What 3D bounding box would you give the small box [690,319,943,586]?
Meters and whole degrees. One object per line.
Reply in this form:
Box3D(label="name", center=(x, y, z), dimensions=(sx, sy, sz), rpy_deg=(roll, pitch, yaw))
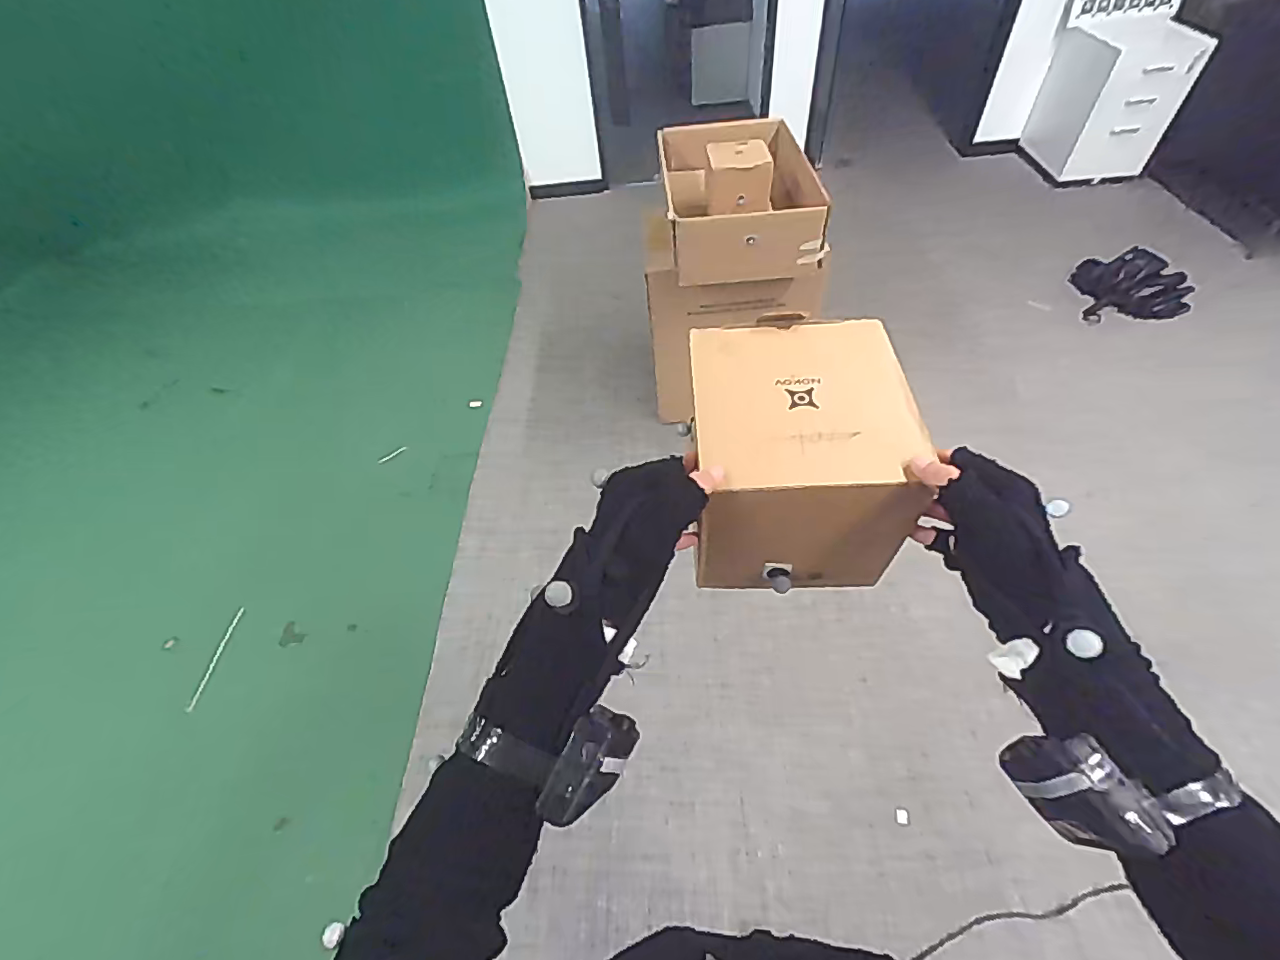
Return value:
Box3D(label="small box", center=(0.131, -0.021, 0.486), dimensions=(0.168, 0.176, 0.179), rpy_deg=(-2, 55, 3))
